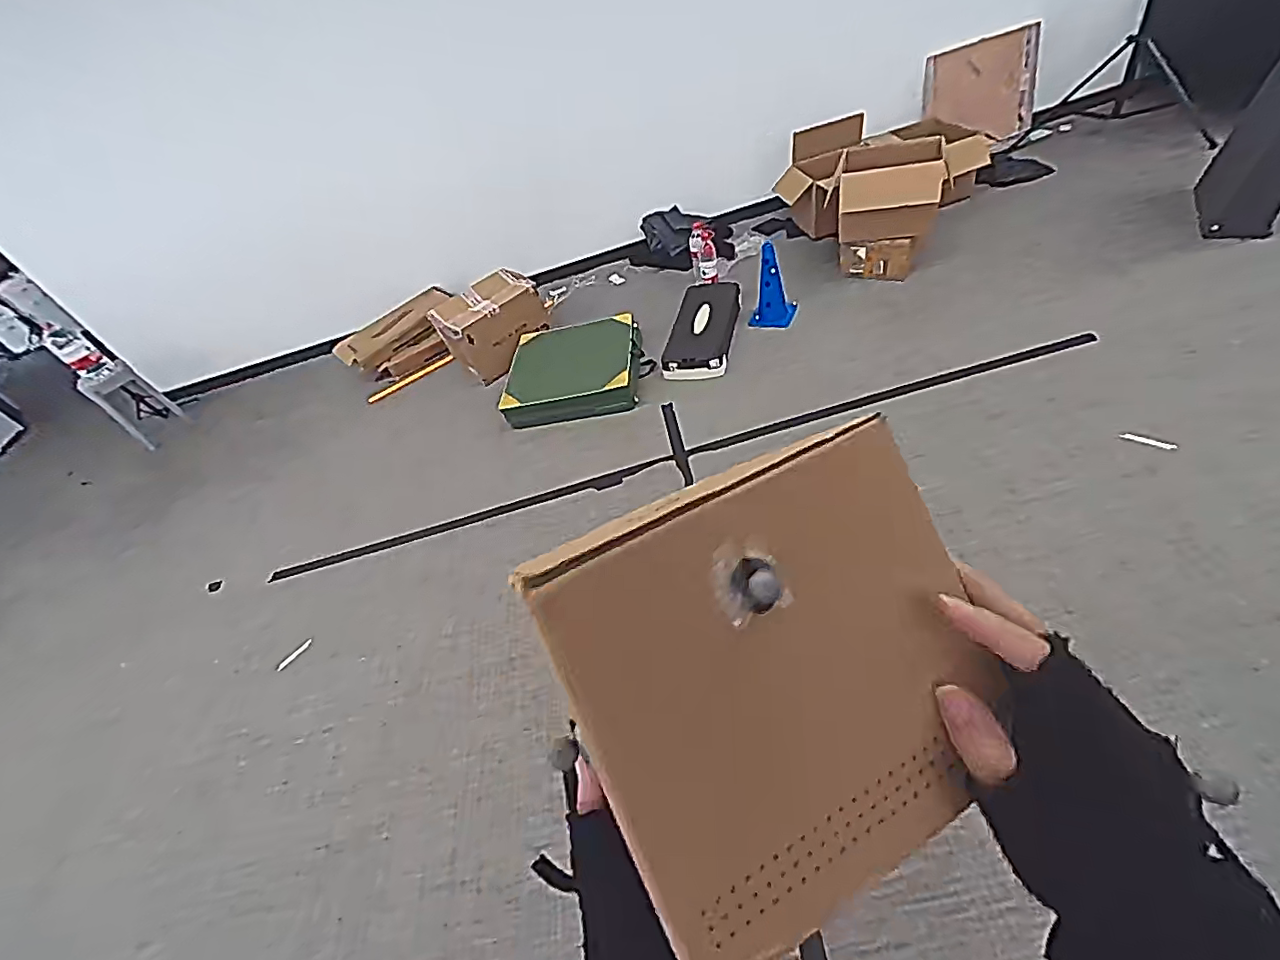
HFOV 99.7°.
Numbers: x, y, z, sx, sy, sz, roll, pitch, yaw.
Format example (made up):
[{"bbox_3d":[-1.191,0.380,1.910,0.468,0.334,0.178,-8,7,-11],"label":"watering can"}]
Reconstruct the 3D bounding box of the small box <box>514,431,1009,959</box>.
[{"bbox_3d":[0.048,0.097,0.292,0.179,0.168,0.176,-23,88,-18],"label":"small box"}]
